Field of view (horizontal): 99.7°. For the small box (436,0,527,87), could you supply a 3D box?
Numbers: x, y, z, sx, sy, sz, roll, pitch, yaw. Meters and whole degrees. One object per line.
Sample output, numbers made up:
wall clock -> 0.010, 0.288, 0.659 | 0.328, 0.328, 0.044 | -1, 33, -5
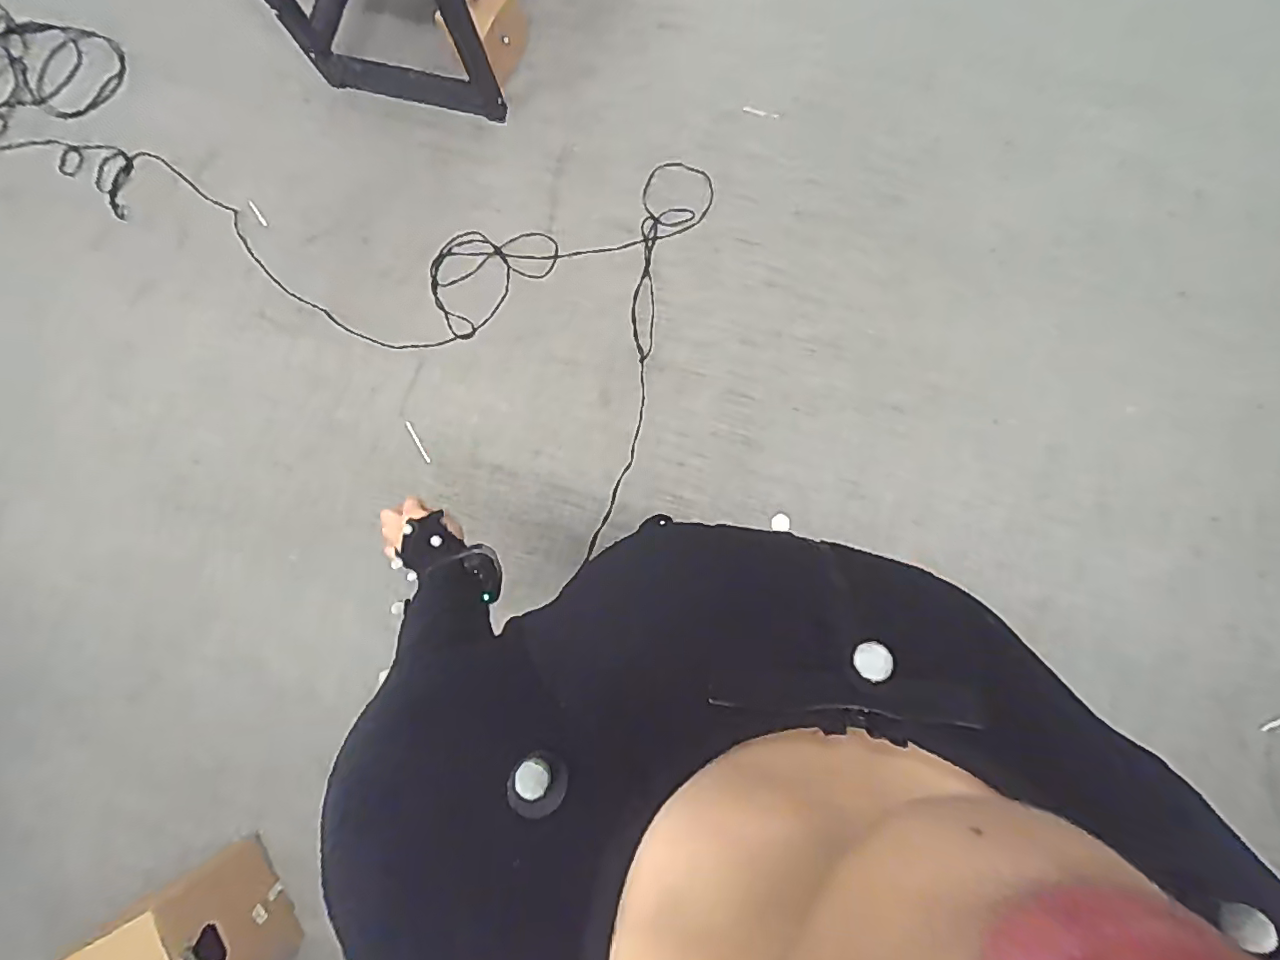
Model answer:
small box -> -0.453, -1.308, 1.580 | 0.168, 0.176, 0.179 | 27, 88, 5
